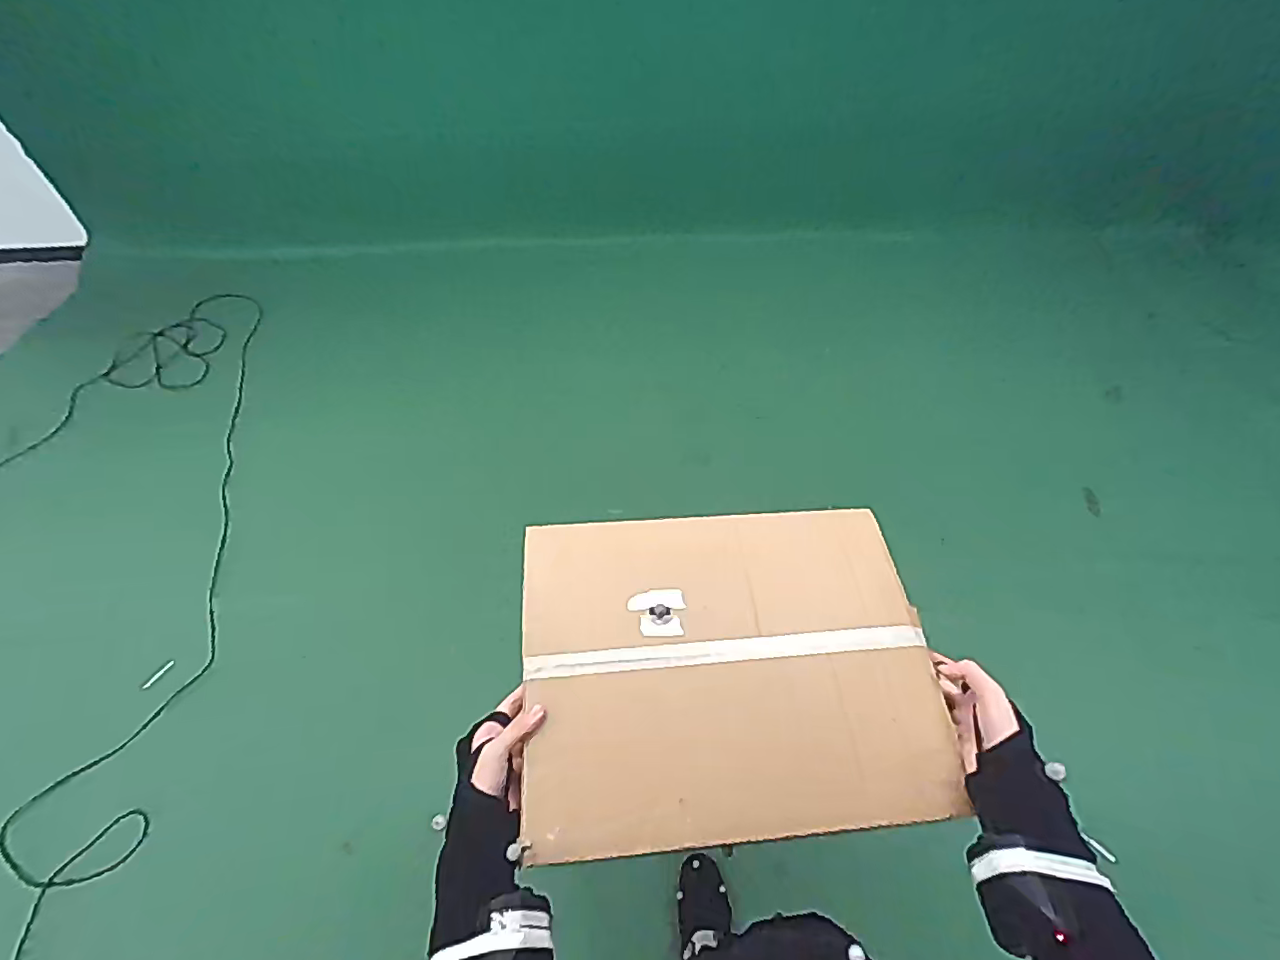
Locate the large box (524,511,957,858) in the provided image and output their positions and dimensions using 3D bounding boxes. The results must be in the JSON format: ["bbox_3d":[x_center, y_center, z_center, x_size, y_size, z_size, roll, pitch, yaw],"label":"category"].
[{"bbox_3d":[0.078,0.255,0.682,0.408,0.320,0.320,-3,58,-5],"label":"large box"}]
